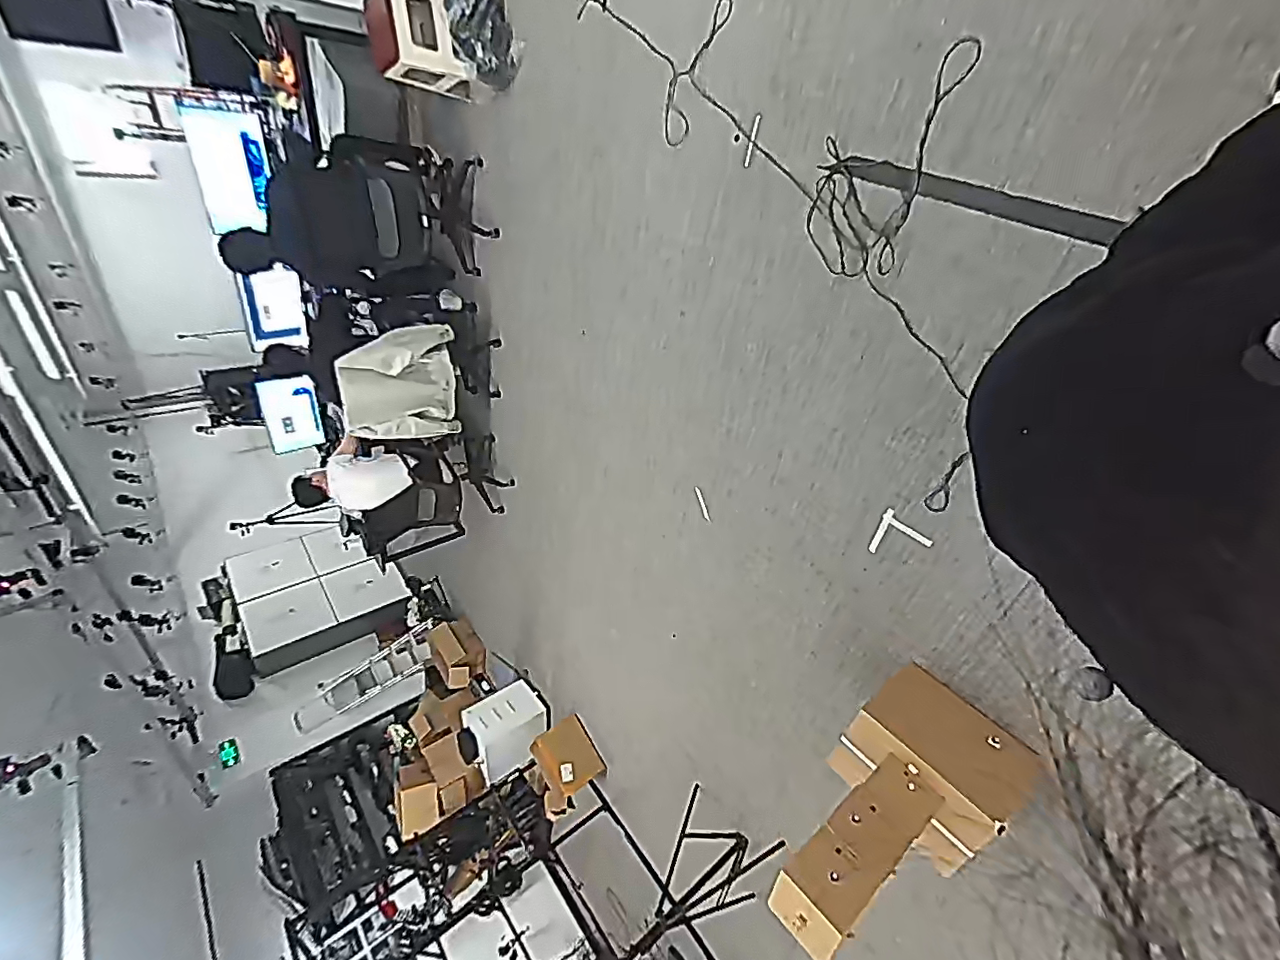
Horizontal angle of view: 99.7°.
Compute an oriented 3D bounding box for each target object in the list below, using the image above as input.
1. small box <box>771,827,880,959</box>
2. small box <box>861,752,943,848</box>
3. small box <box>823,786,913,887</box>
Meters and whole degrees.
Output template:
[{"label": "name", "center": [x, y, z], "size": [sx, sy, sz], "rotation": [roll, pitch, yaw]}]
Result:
[{"label": "small box", "center": [0.444, 0.986, 1.295], "size": [0.168, 0.176, 0.179], "rotation": [34, 131, 41]}, {"label": "small box", "center": [0.694, 0.898, 1.486], "size": [0.168, 0.176, 0.179], "rotation": [38, 133, 36]}, {"label": "small box", "center": [0.568, 0.936, 1.391], "size": [0.168, 0.176, 0.179], "rotation": [38, 134, 38]}]
